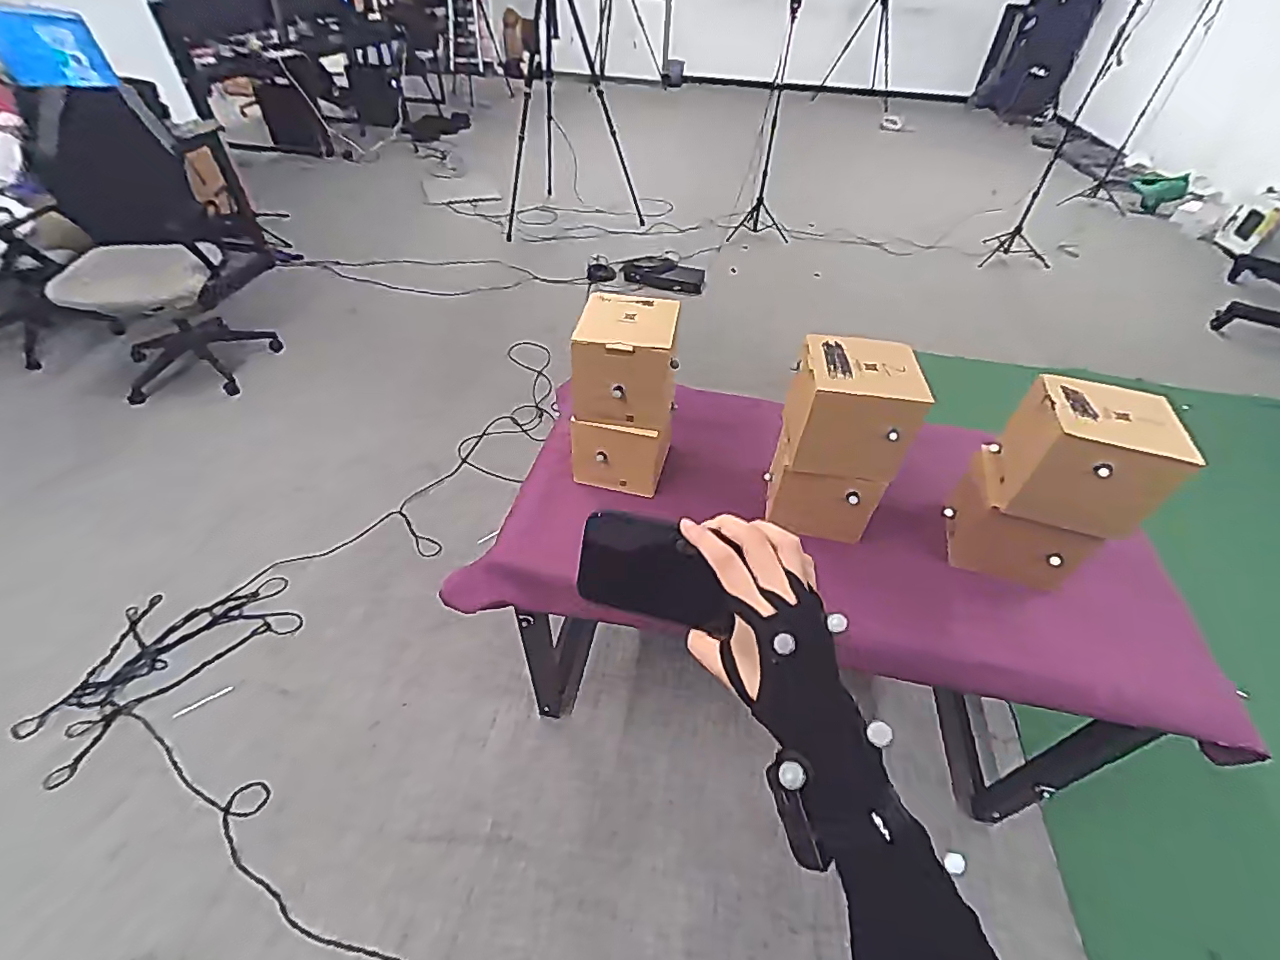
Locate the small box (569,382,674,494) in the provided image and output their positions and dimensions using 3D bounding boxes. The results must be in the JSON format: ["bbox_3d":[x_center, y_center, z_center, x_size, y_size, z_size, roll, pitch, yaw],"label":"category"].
[{"bbox_3d":[-0.033,-0.096,1.093,0.168,0.176,0.179,12,46,8],"label":"small box"}]

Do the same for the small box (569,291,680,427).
[{"bbox_3d":[-0.025,-0.217,0.983,0.168,0.176,0.179,9,46,4],"label":"small box"}]

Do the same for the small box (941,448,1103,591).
[{"bbox_3d":[0.667,0.074,0.967,0.179,0.176,0.168,16,46,13],"label":"small box"}]

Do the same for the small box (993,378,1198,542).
[{"bbox_3d":[0.678,-0.029,0.839,0.179,0.176,0.168,16,46,12],"label":"small box"}]

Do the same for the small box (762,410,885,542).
[{"bbox_3d":[0.340,-0.004,1.023,0.179,0.176,0.168,11,46,8],"label":"small box"}]
